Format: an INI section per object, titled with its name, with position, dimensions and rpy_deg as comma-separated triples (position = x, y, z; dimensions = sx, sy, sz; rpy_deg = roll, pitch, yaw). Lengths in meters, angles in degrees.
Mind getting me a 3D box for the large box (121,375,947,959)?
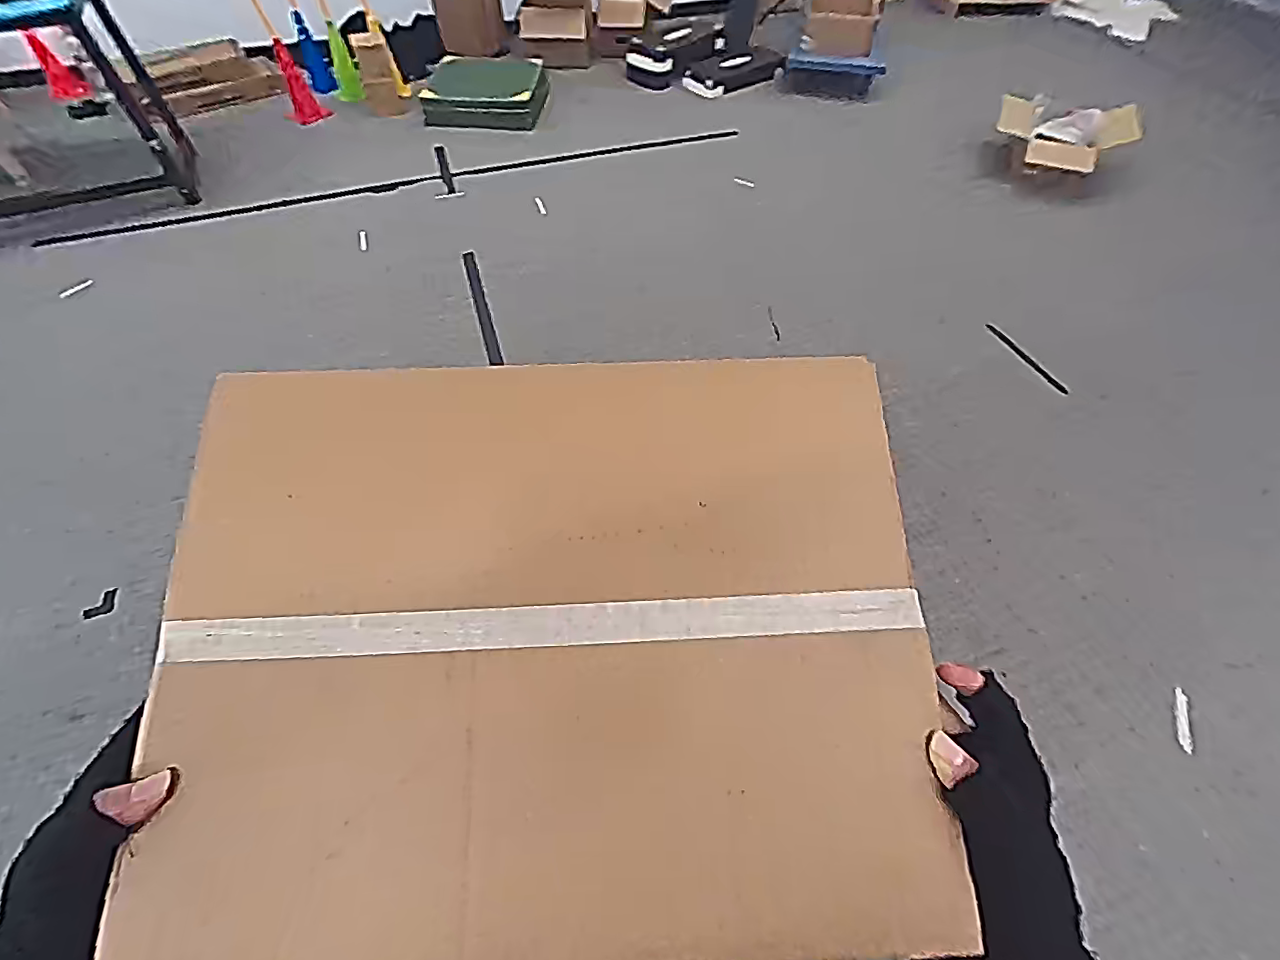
[large box]
position = -0.057, 0.132, 0.441
dimensions = 0.408, 0.320, 0.320
rpy_deg = -3, 72, -2
